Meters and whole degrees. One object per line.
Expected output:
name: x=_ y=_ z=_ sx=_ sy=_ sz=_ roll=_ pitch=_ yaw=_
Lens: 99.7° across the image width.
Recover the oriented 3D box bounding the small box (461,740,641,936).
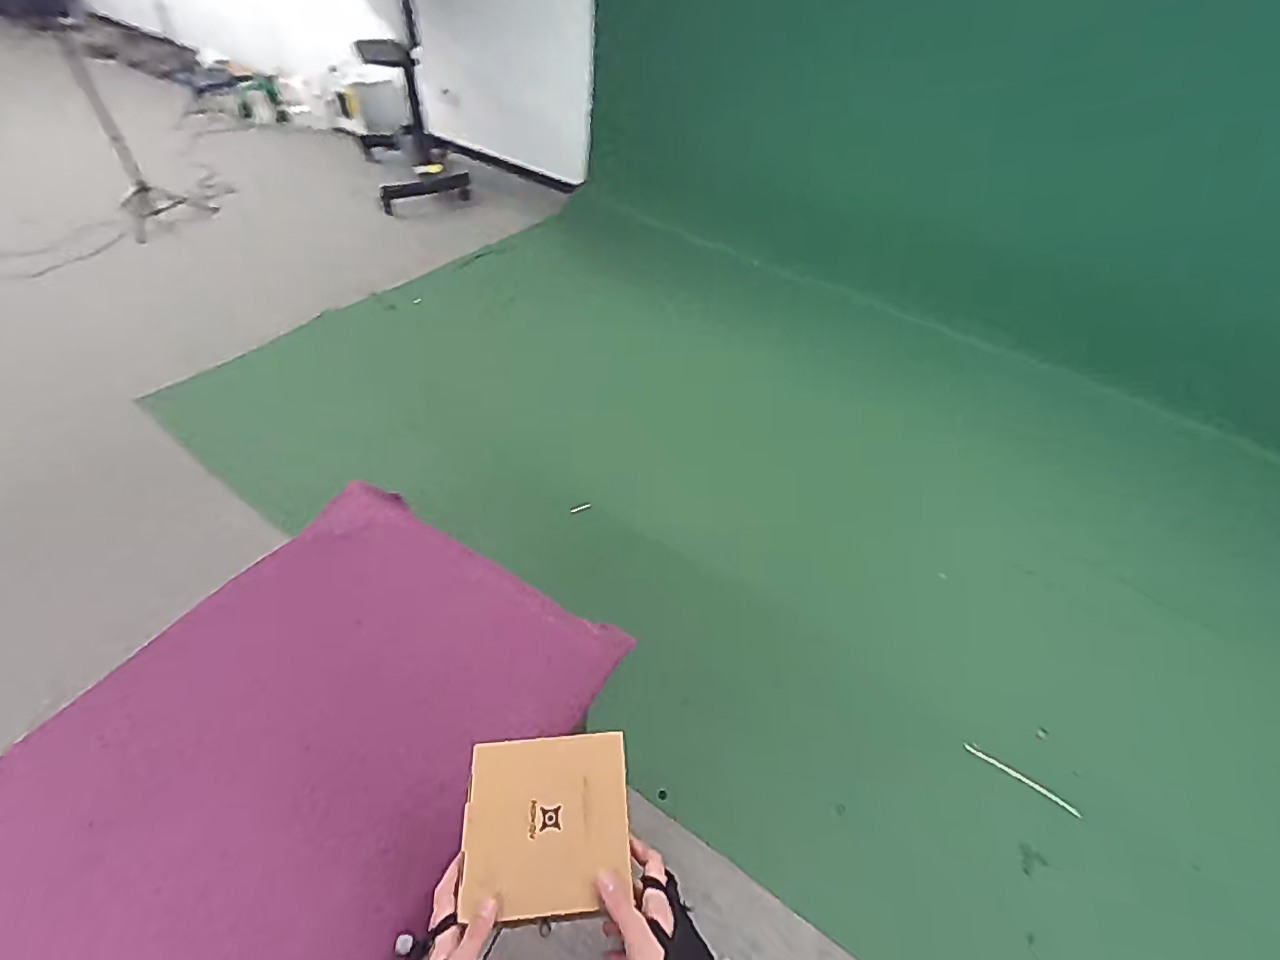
small box: x=-0.090 y=0.419 z=0.631 sx=0.179 sy=0.176 sz=0.168 roll=-2 pitch=49 yaw=-3
